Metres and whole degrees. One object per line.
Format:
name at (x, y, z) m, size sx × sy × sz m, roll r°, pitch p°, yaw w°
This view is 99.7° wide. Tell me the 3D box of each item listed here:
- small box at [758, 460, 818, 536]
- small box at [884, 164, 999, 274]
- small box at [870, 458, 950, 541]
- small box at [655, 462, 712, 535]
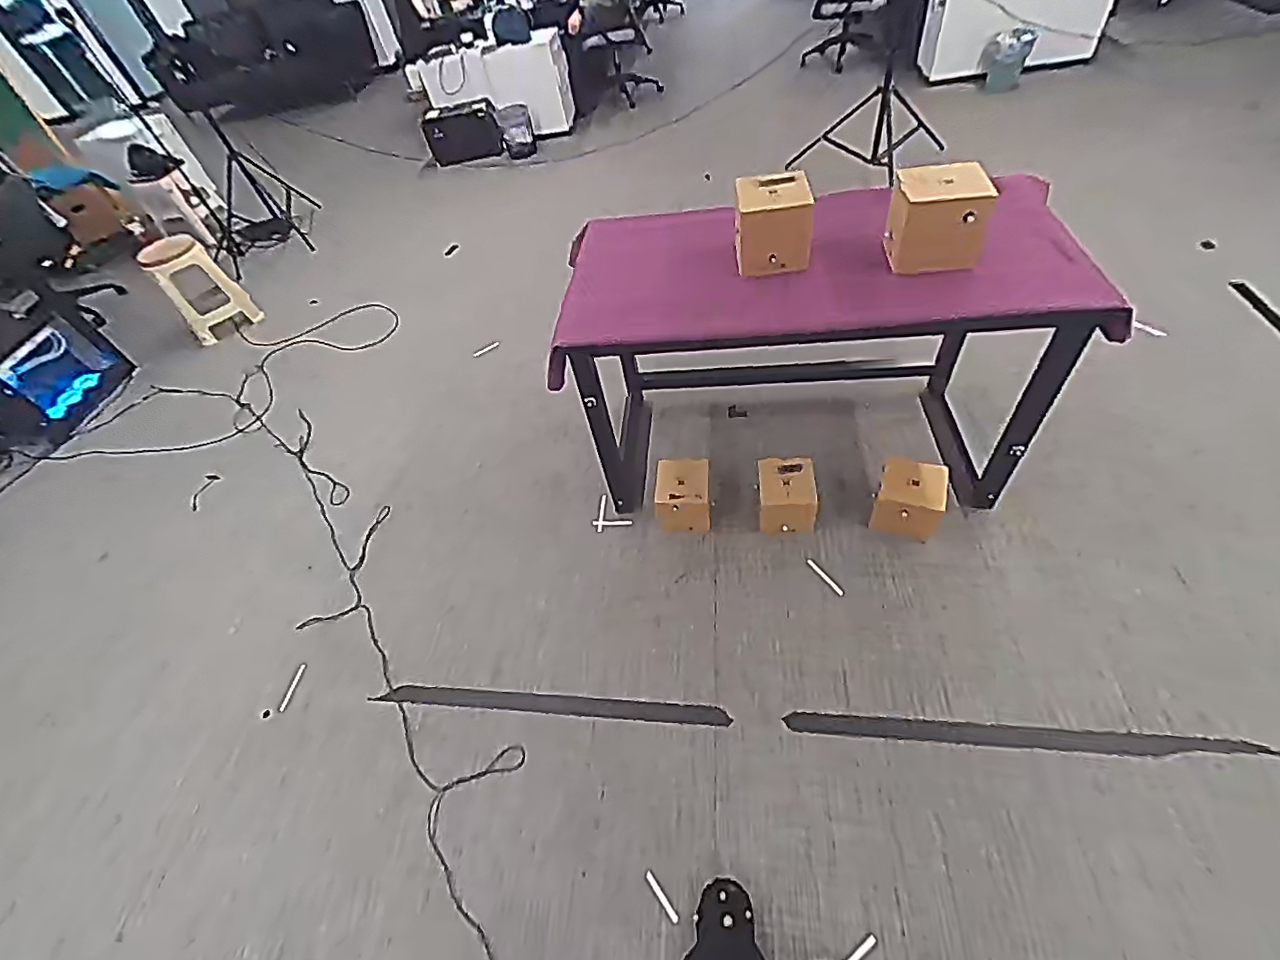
small box at (0.459, 0.057, 1.699) m, size 0.168 × 0.176 × 0.179 m, roll -2°, pitch 52°, yaw 10°
small box at (0.676, -0.591, 1.234) m, size 0.179 × 0.176 × 0.168 m, roll 0°, pitch 50°, yaw 12°
small box at (0.809, 0.063, 1.628) m, size 0.179 × 0.176 × 0.168 m, roll 12°, pitch 55°, yaw 21°
small box at (0.148, 0.059, 1.759) m, size 0.168 × 0.176 × 0.179 m, roll 0°, pitch 50°, yaw 11°
